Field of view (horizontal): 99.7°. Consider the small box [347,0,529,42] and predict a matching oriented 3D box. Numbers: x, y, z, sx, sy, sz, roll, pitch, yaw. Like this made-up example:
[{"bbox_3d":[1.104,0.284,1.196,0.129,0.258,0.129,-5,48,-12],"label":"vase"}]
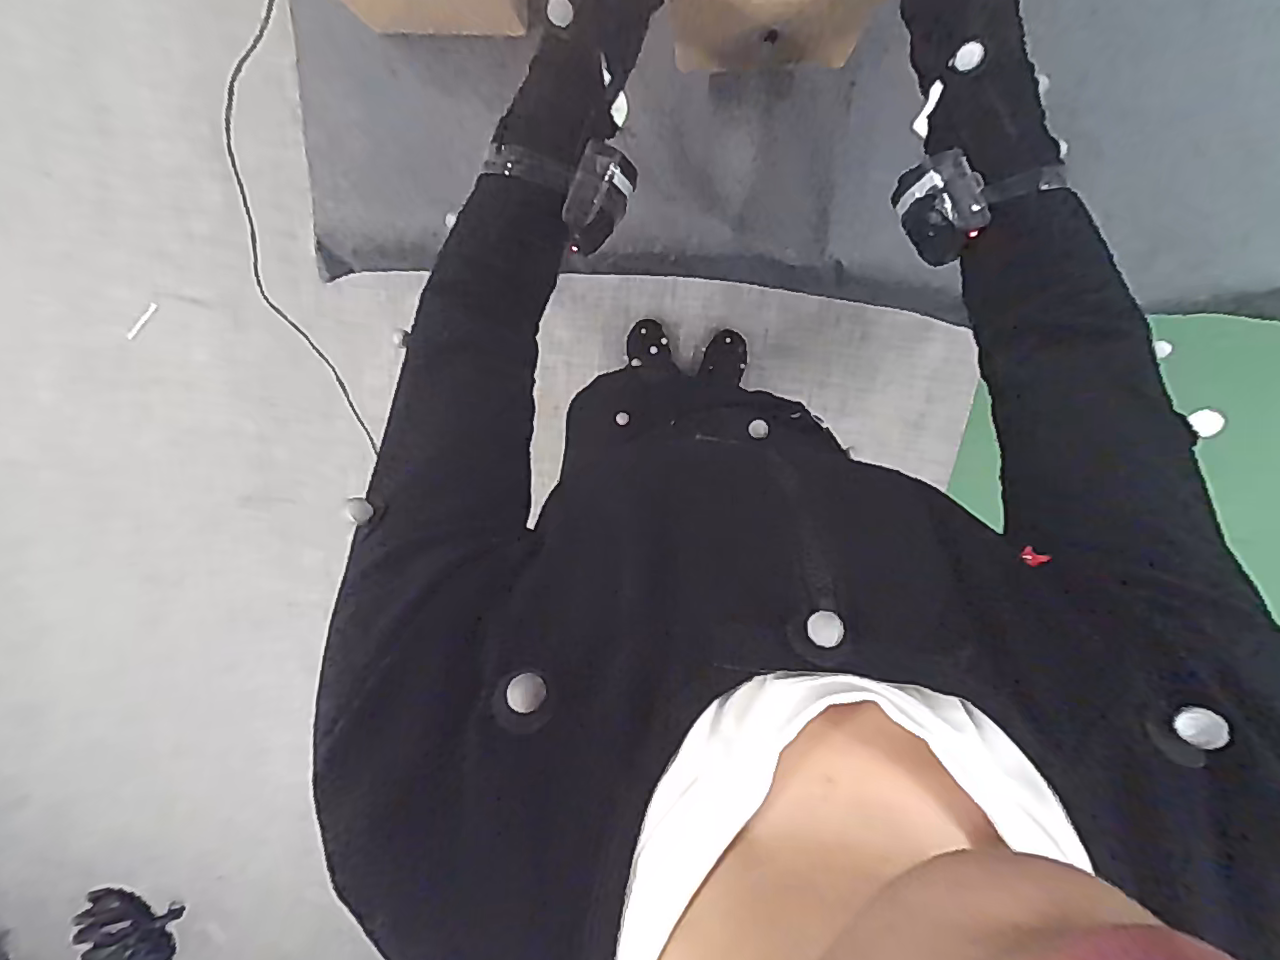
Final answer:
[{"bbox_3d":[-0.212,-0.543,0.503,0.179,0.176,0.168,4,107,3],"label":"small box"}]
